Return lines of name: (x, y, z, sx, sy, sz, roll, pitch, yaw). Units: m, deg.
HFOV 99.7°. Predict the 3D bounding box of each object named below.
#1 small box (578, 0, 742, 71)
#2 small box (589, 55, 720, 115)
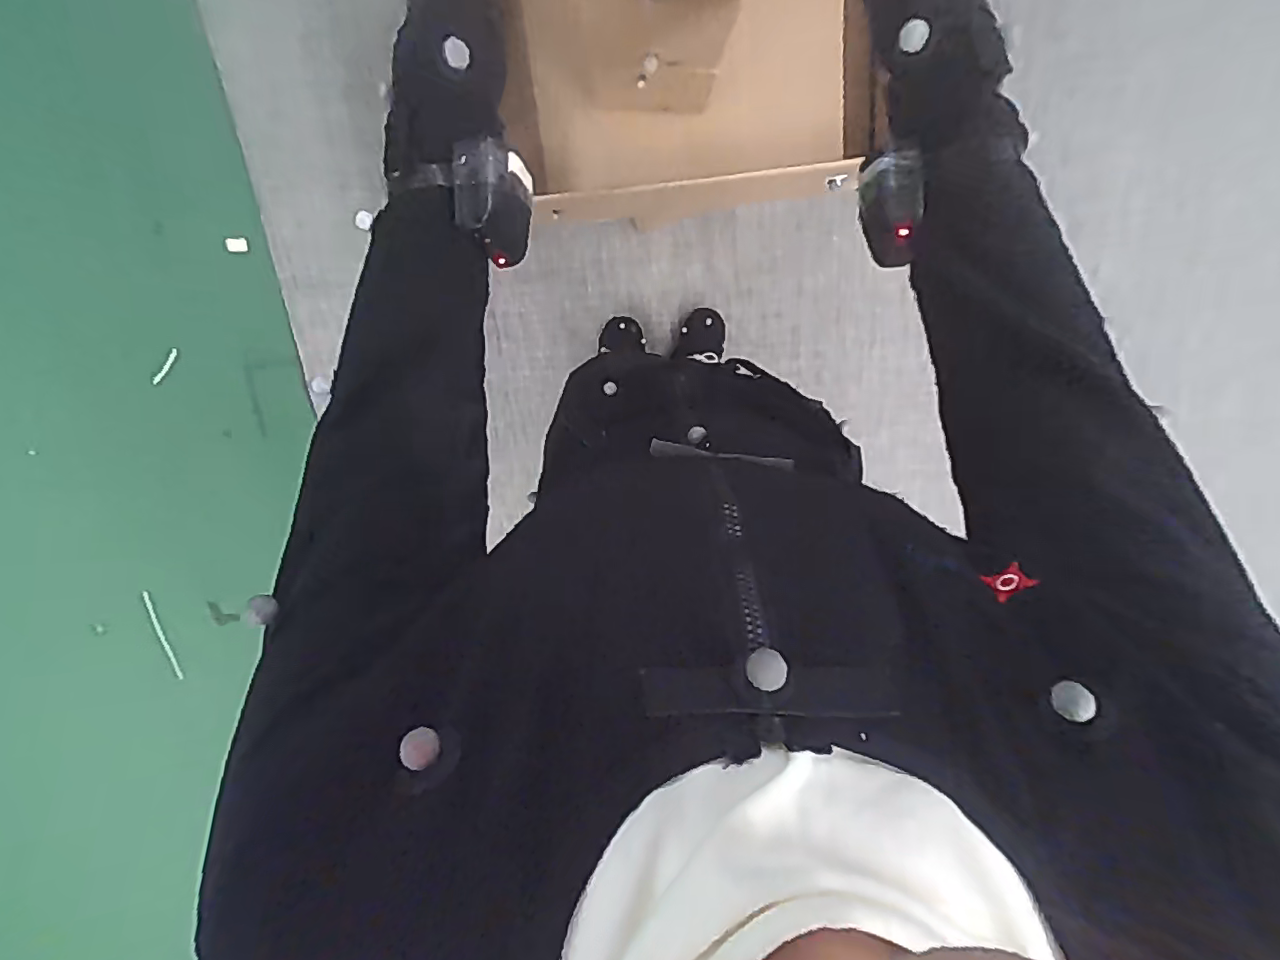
small box: (0.016, -0.568, 0.570, 0.168, 0.176, 0.179, -1, 109, 0)
small box: (0.020, -0.621, 0.725, 0.168, 0.176, 0.179, 2, 108, 0)
